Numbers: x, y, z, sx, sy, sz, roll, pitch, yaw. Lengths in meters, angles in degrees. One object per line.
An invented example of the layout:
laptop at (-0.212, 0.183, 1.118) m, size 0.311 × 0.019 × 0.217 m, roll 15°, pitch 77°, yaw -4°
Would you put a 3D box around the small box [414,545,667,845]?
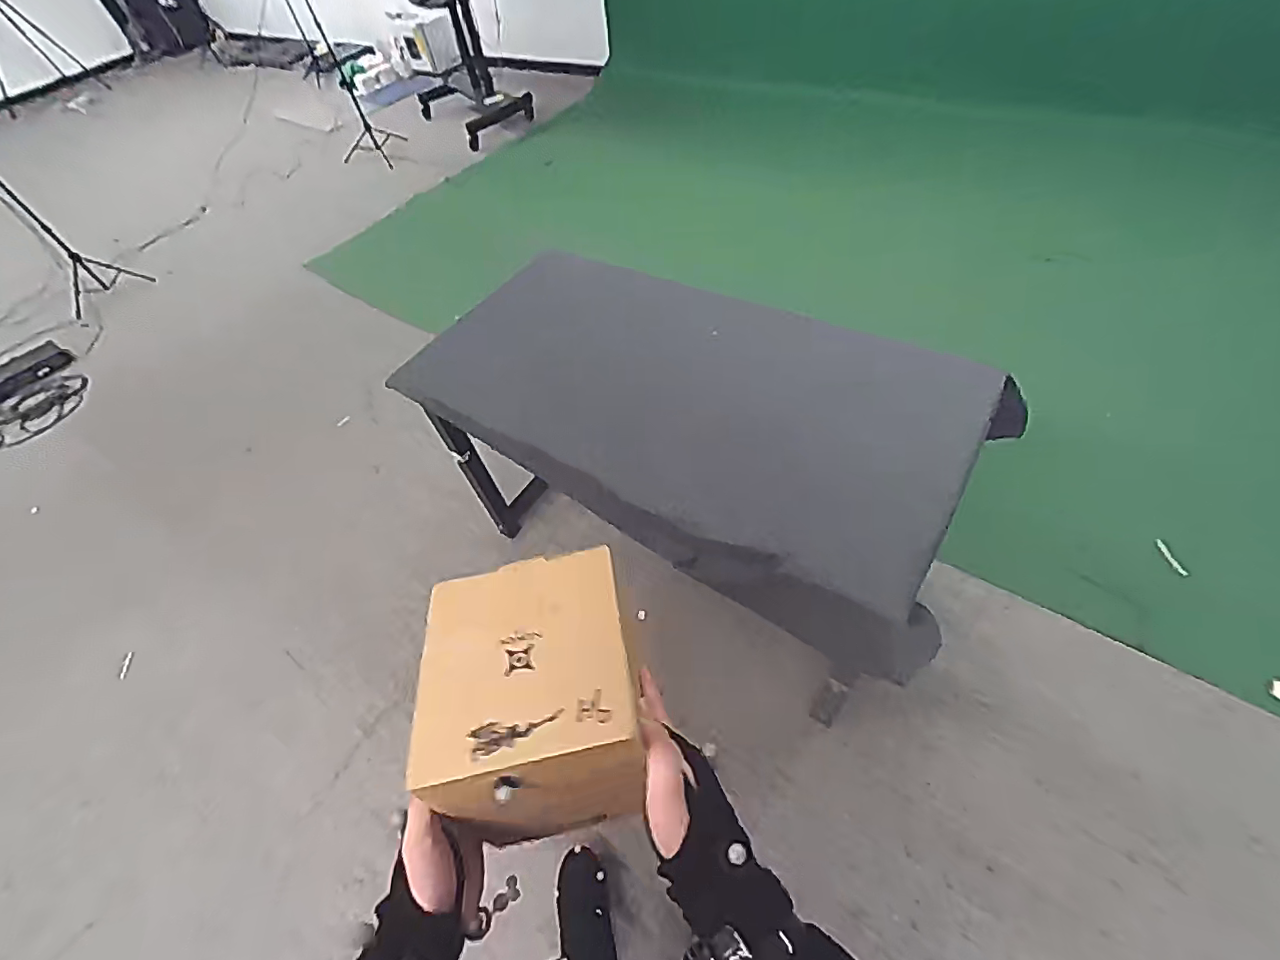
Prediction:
small box at (-0.078, 0.191, 0.486) m, size 0.168 × 0.176 × 0.179 m, roll -13°, pitch 43°, yaw -2°
